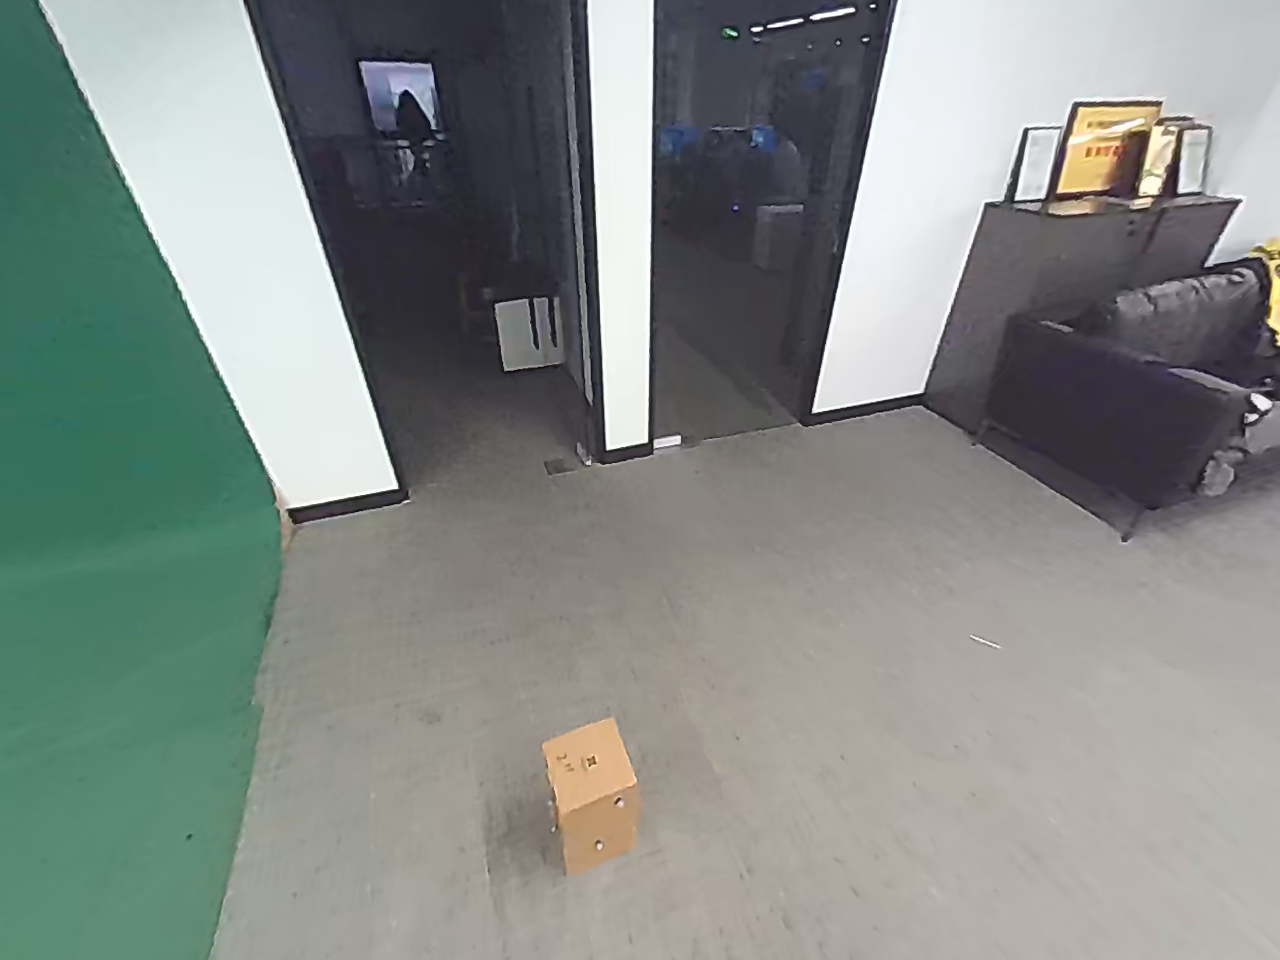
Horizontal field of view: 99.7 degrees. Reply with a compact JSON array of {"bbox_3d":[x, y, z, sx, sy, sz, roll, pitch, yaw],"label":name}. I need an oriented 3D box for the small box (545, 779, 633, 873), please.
[{"bbox_3d":[-0.127,0.823,1.335,0.179,0.176,0.168,-14,39,-18],"label":"small box"}]

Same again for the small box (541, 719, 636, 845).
[{"bbox_3d":[-0.118,0.690,1.238,0.179,0.176,0.168,-13,38,-17],"label":"small box"}]
